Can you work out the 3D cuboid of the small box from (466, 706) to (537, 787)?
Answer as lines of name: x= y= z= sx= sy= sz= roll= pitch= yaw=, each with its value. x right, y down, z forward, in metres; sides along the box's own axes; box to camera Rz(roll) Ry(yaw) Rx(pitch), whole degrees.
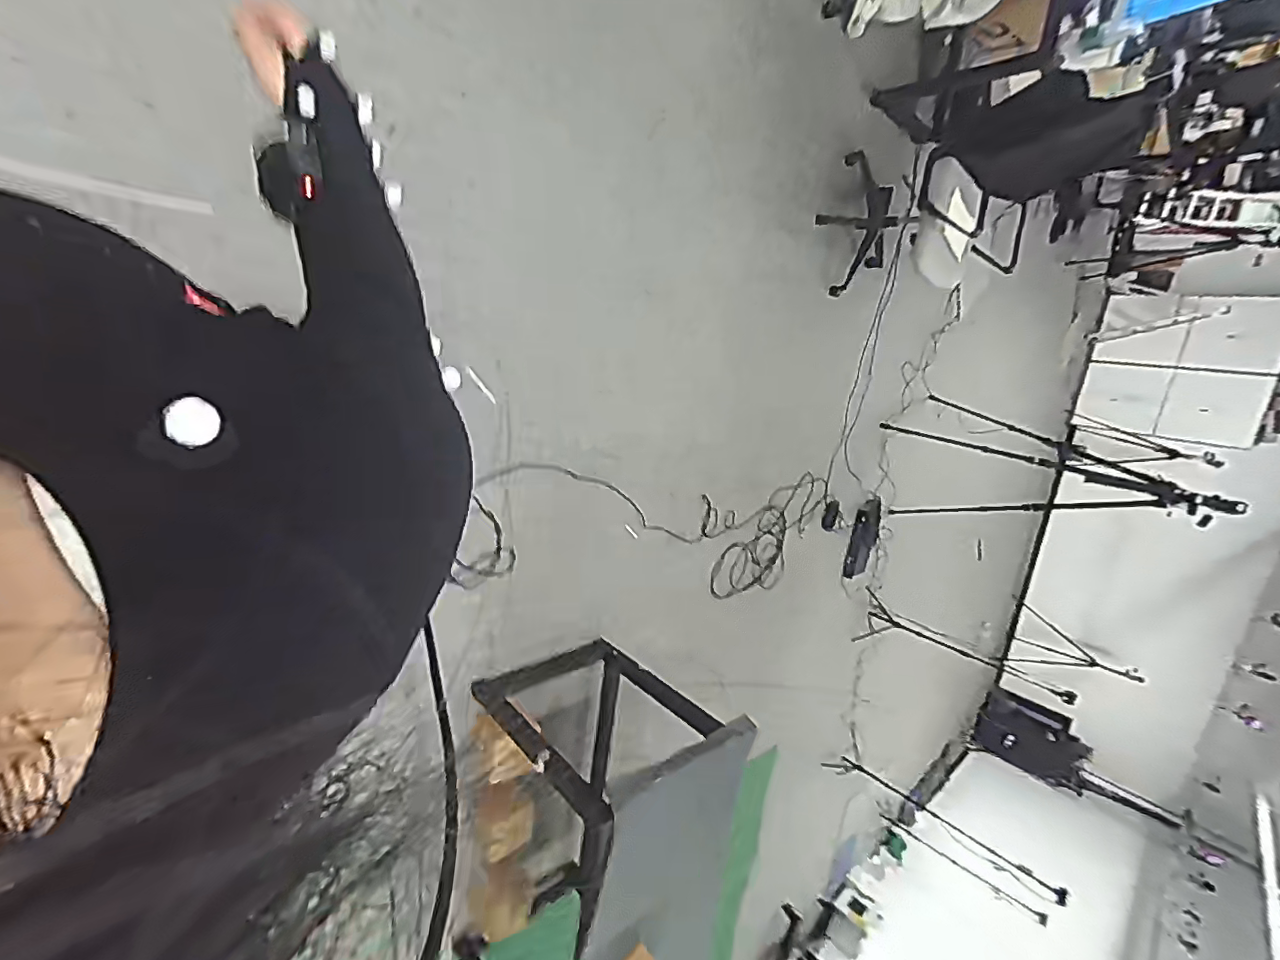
small box: x=-0.488 y=0.925 z=1.894 sx=0.179 sy=0.176 sz=0.168 roll=1 pitch=102 yaw=-45

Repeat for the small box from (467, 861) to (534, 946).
small box: x=-0.537 y=1.608 z=2.069 sx=0.168 sy=0.176 sz=0.179 roll=13 pitch=95 yaw=-45

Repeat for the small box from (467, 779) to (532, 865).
small box: x=-0.516 y=1.234 z=1.967 sx=0.179 sy=0.176 sz=0.168 roll=-8 pitch=109 yaw=-44
